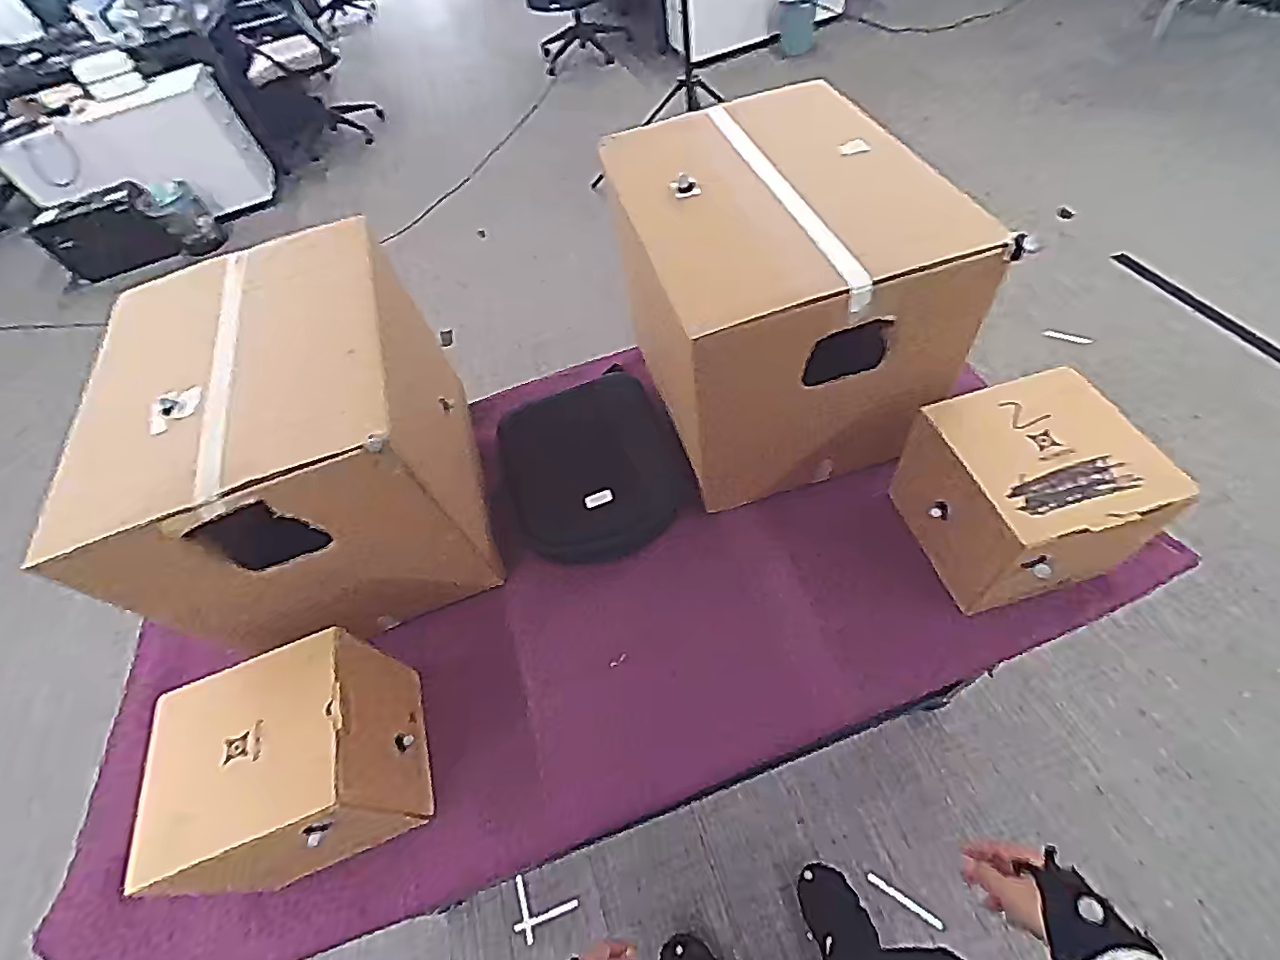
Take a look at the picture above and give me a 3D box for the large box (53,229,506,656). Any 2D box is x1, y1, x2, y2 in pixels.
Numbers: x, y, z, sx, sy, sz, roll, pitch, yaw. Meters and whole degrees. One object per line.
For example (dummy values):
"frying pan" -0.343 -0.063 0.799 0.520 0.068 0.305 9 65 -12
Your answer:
"large box" -0.404 -0.039 0.695 0.320 0.320 0.408 -22 57 -4

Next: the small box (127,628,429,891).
"small box" -0.341 0.284 0.545 0.179 0.176 0.168 -22 54 -6
